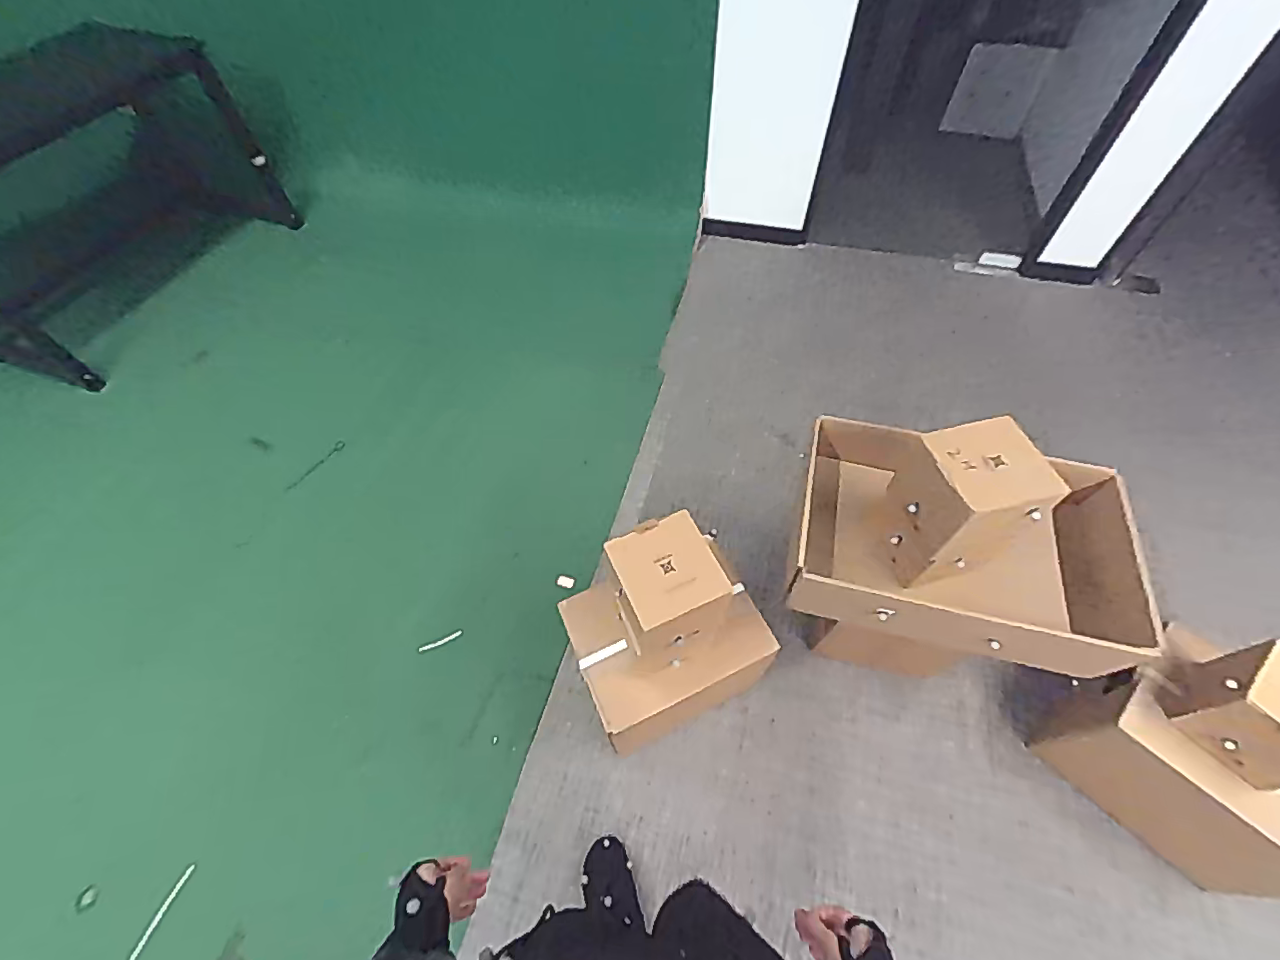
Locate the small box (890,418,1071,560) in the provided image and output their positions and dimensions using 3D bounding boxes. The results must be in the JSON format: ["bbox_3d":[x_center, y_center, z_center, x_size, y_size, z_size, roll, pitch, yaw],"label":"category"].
[{"bbox_3d":[0.578,0.020,0.947,0.179,0.176,0.168,-12,56,-6],"label":"small box"}]

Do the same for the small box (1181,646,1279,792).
[{"bbox_3d":[1.156,0.431,0.979,0.179,0.176,0.168,-35,62,-21],"label":"small box"}]

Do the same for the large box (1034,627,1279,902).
[{"bbox_3d":[1.184,0.599,1.159,0.320,0.320,0.408,-39,65,-22],"label":"large box"}]

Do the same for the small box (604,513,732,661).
[{"bbox_3d":[0.045,0.195,0.970,0.168,0.176,0.179,-21,58,-12],"label":"small box"}]

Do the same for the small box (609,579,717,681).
[{"bbox_3d":[0.042,0.284,1.107,0.168,0.176,0.179,-19,58,-11],"label":"small box"}]
